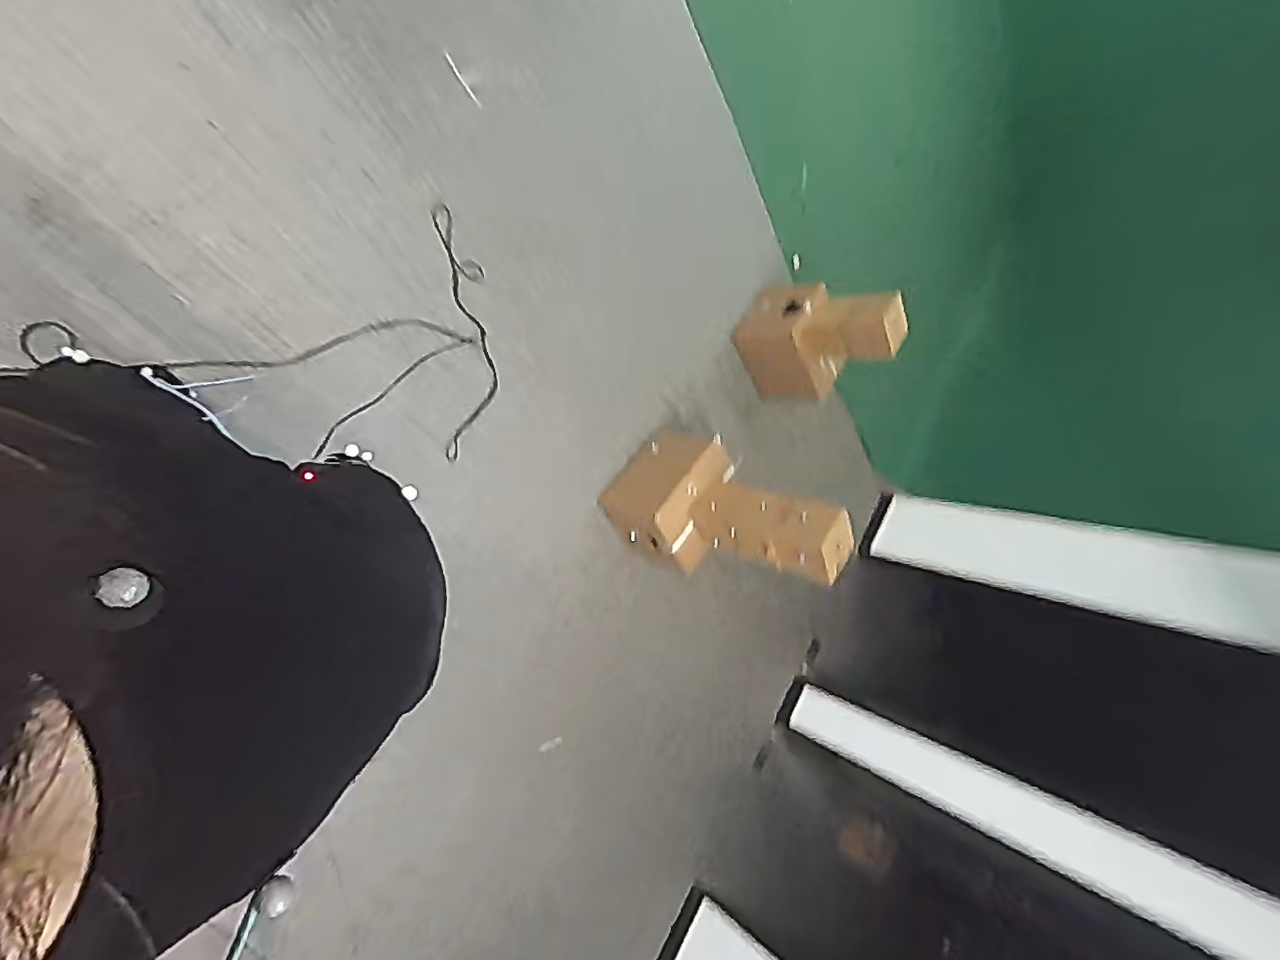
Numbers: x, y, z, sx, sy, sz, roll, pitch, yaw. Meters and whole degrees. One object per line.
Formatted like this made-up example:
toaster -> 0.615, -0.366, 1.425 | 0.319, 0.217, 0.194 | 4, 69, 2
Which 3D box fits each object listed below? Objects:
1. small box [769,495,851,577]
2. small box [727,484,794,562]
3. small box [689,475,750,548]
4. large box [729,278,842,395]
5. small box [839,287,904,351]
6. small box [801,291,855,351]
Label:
small box -> 0.518, 0.164, 1.658 | 0.168, 0.176, 0.179 | -47, 129, -25
small box -> 0.401, 0.135, 1.770 | 0.179, 0.176, 0.168 | -48, 130, -27
small box -> 0.291, 0.107, 1.888 | 0.179, 0.176, 0.168 | -48, 130, -26
large box -> 0.658, -0.633, 2.422 | 0.320, 0.320, 0.408 | -56, 132, -19
small box -> 0.883, -0.608, 2.069 | 0.168, 0.176, 0.179 | -54, 131, -20
small box -> 0.775, -0.639, 2.191 | 0.168, 0.176, 0.179 | -55, 131, -21
